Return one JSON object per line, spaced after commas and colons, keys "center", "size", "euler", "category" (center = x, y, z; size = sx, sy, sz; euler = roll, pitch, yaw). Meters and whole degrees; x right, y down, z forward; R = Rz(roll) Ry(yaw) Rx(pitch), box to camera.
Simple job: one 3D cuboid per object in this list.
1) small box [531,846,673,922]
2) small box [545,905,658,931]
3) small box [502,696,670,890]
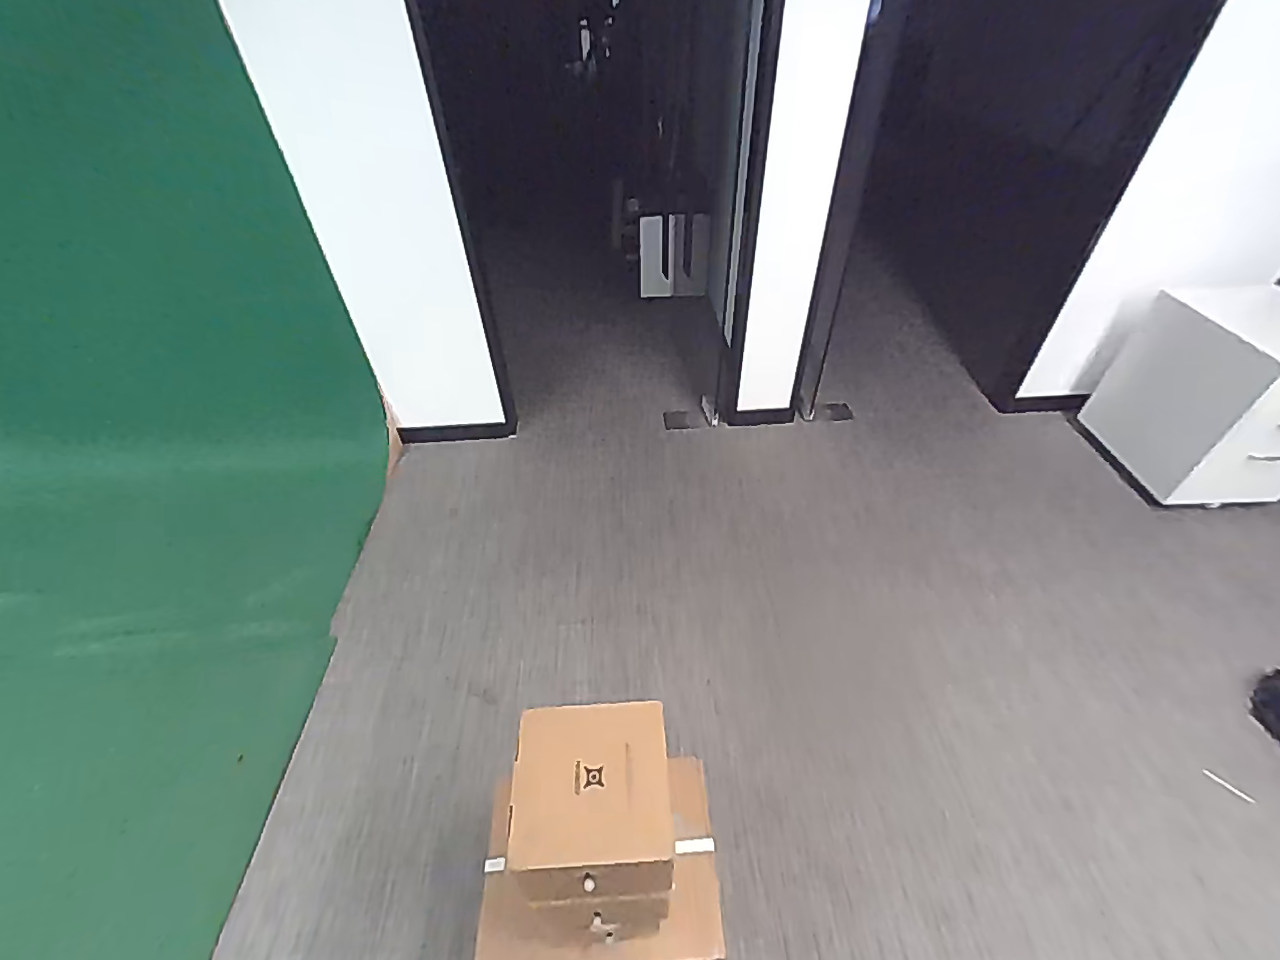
{"center": [-0.054, 0.506, 0.770], "size": [0.179, 0.176, 0.168], "euler": [-5, 44, -4], "category": "small box"}
{"center": [-0.060, 0.620, 0.888], "size": [0.168, 0.176, 0.179], "euler": [-5, 45, -3], "category": "small box"}
{"center": [-0.057, 0.385, 0.663], "size": [0.179, 0.176, 0.168], "euler": [-2, 45, -2], "category": "small box"}
